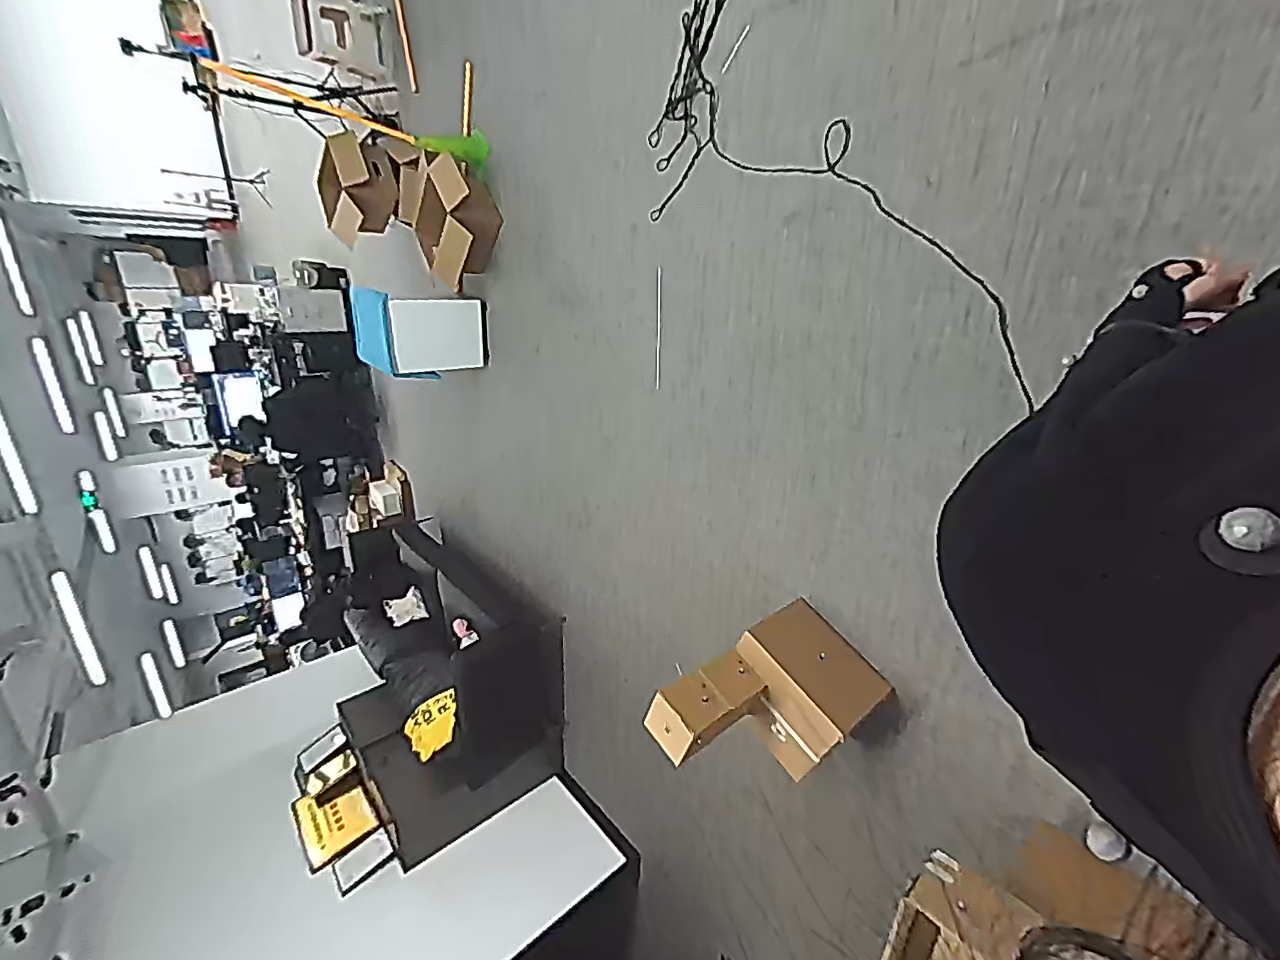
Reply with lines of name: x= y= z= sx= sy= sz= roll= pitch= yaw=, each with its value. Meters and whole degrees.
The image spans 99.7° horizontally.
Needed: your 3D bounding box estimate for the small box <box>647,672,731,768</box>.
small box: x=0.150 y=0.723 z=1.640 sx=0.168 sy=0.176 sz=0.179 roll=42 pitch=131 yaw=34
